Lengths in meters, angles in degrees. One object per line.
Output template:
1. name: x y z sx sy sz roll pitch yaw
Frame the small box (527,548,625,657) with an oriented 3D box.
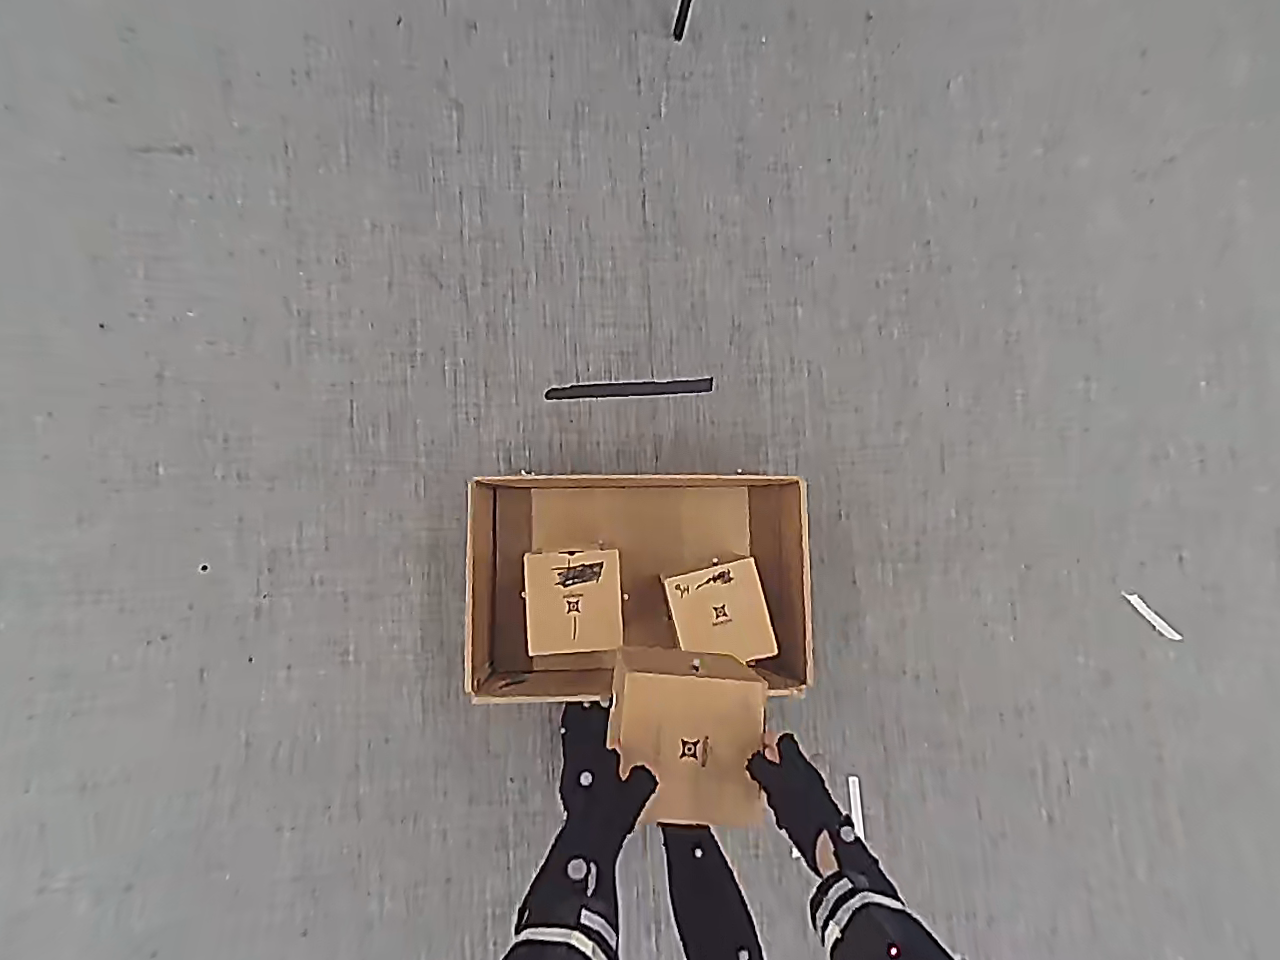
1. small box: -0.117 0.218 1.008 0.168 0.176 0.179 -3 86 -4

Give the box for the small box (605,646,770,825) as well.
1. small box: 0.053 0.321 0.709 0.179 0.176 0.168 6 83 -6
